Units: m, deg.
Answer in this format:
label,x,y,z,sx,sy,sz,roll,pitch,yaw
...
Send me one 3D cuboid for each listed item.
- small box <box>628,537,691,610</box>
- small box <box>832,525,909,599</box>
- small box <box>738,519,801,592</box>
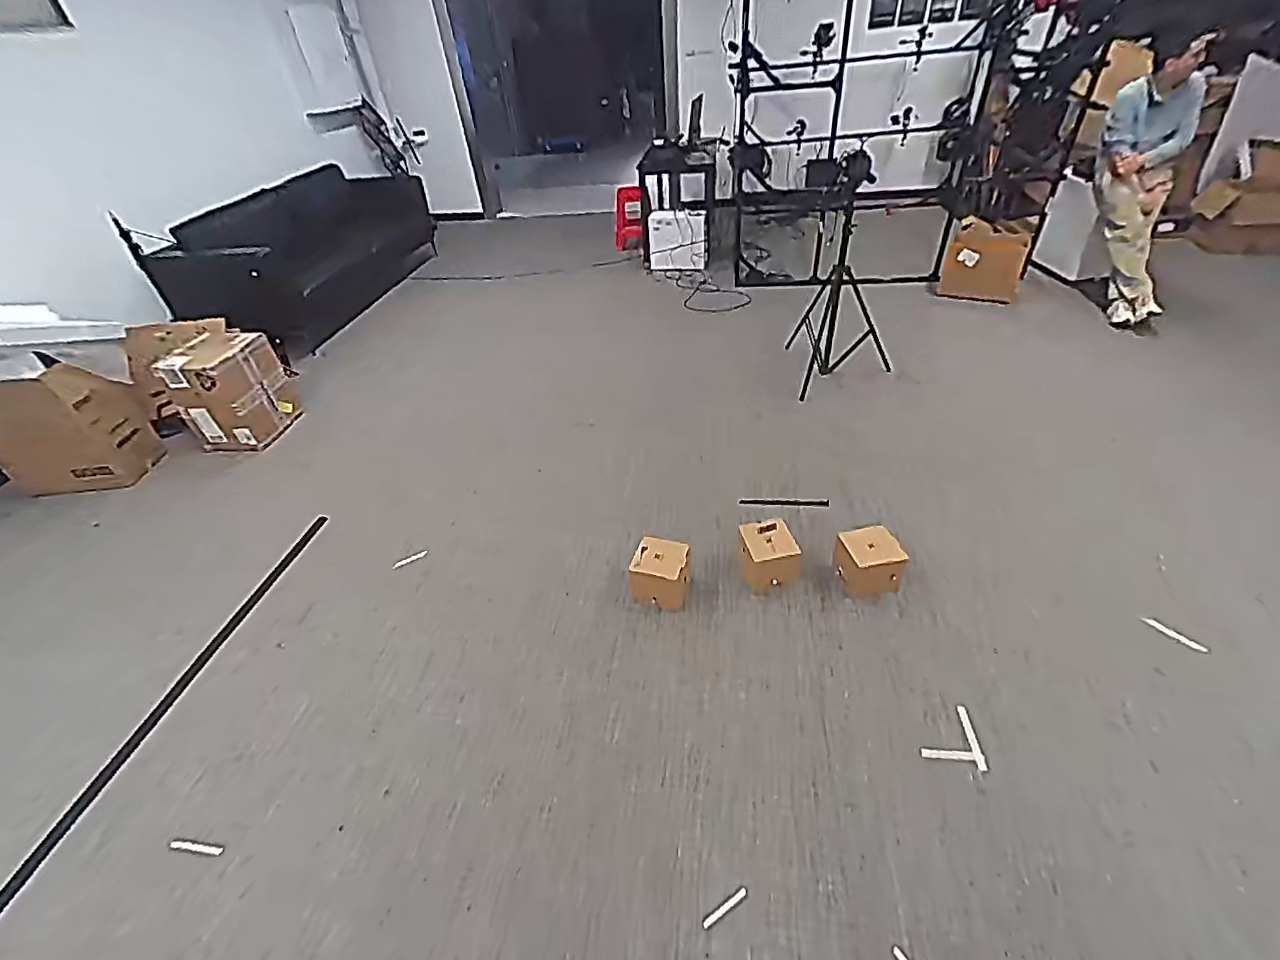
label,x,y,z,sx,sy,sz,roll,pitch,yaw
small box,0.075,0.331,1.895,0.179,0.176,0.168,10,41,19
small box,0.786,0.284,1.860,0.179,0.176,0.168,-11,39,-5
small box,0.451,0.269,1.918,0.168,0.176,0.179,-11,40,-6
